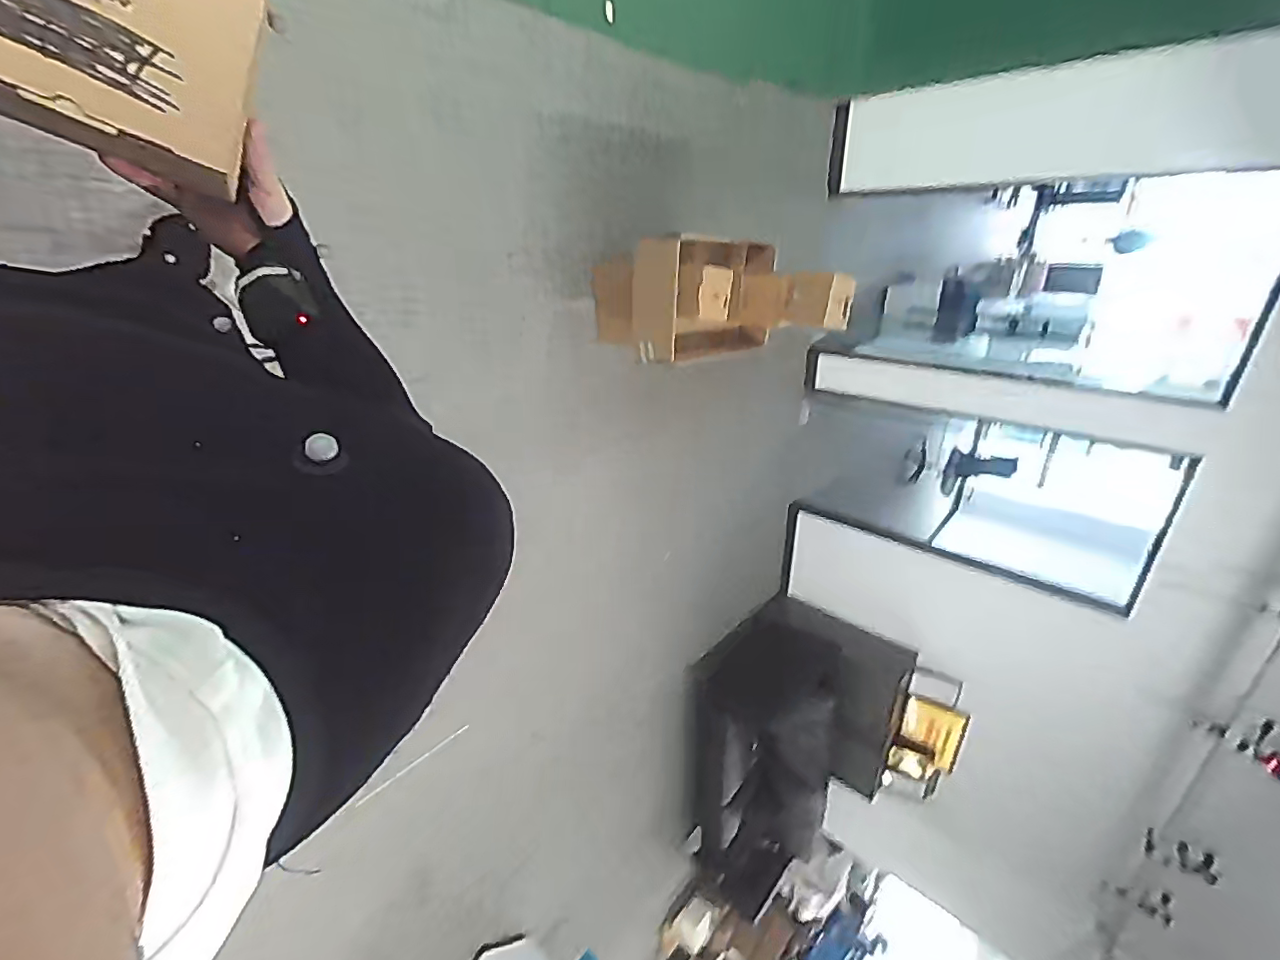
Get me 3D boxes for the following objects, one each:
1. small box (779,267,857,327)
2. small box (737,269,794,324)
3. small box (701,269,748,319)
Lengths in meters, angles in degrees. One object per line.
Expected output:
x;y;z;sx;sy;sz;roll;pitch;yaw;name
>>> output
0.587;-0.606;1.789;0.179;0.176;0.168;-10;114;-46;small box
0.464;-0.646;1.891;0.179;0.176;0.168;-22;122;-42;small box
0.347;-0.690;1.994;0.179;0.176;0.168;-22;121;-42;small box
